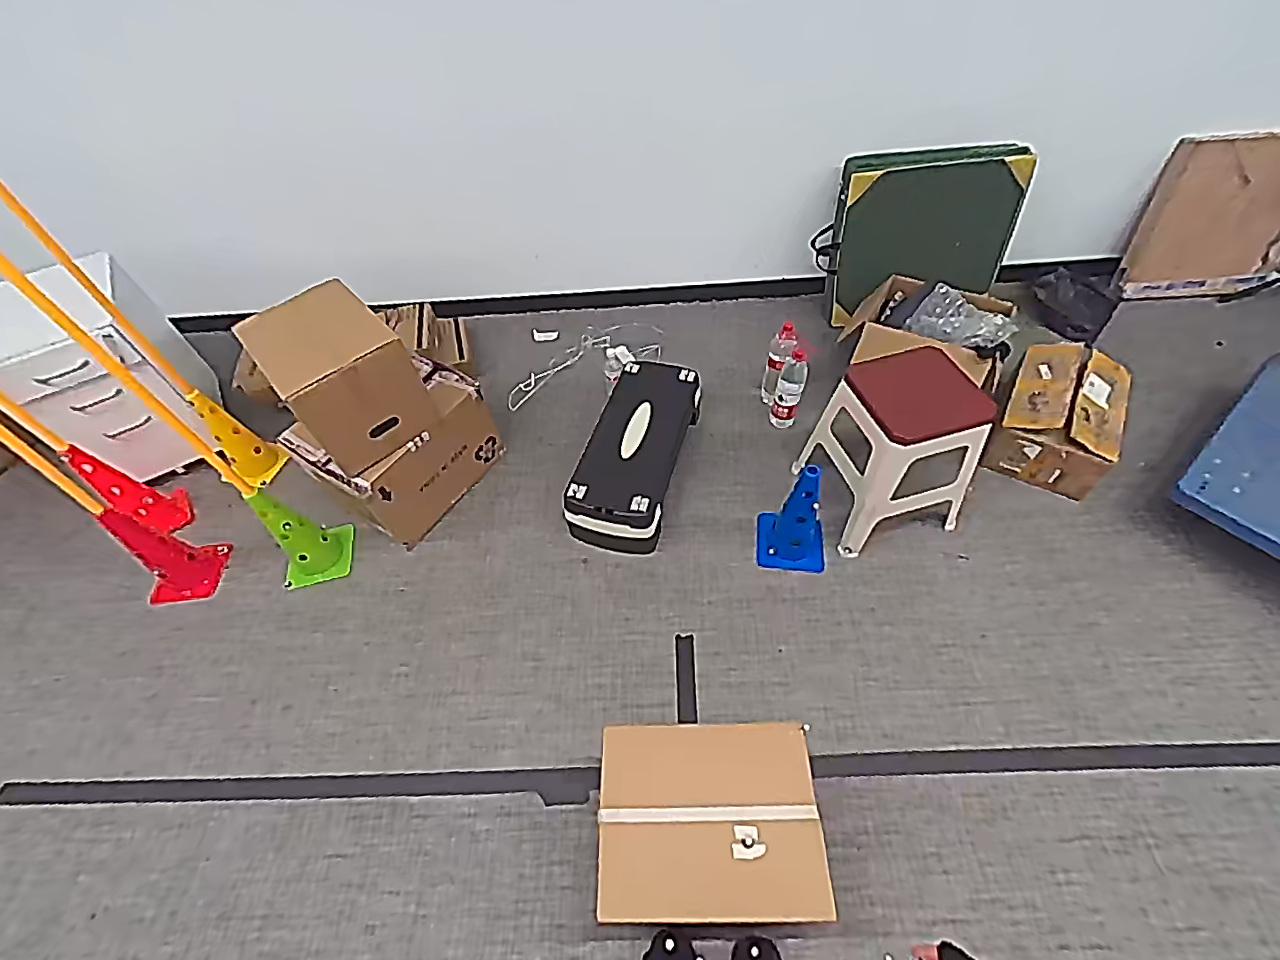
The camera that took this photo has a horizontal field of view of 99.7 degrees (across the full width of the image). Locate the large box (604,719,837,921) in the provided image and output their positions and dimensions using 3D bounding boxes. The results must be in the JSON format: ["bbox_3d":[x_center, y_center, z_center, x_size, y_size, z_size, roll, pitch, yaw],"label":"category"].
[{"bbox_3d":[0.137,0.704,1.119,0.408,0.320,0.320,-2,53,2],"label":"large box"}]
